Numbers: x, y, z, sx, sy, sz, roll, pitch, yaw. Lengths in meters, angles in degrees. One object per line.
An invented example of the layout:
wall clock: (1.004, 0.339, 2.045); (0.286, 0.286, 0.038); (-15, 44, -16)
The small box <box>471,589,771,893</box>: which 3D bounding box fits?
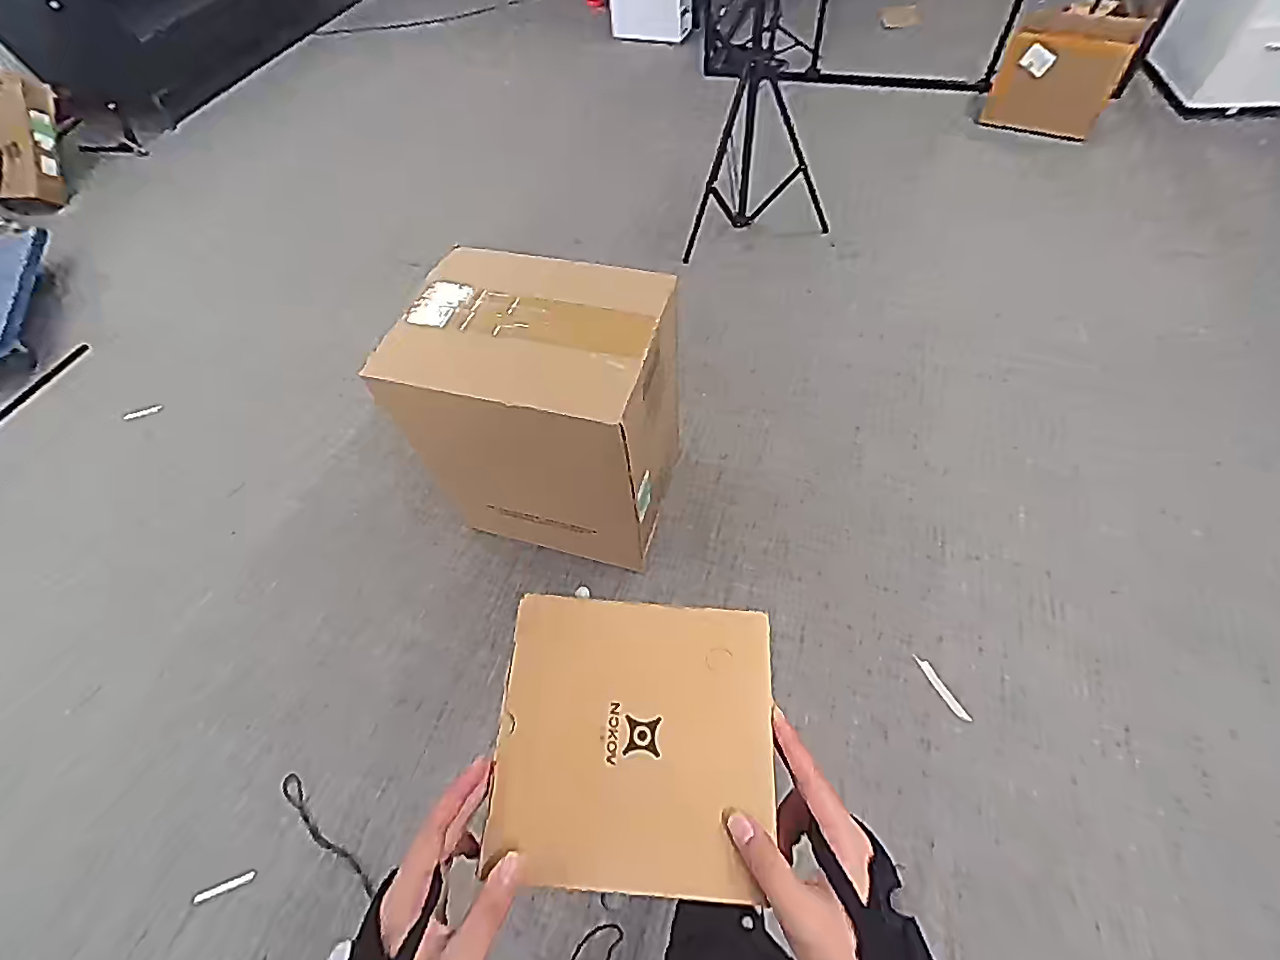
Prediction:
small box: (-0.006, 0.189, 0.416); (0.179, 0.176, 0.168); (3, 65, 2)
